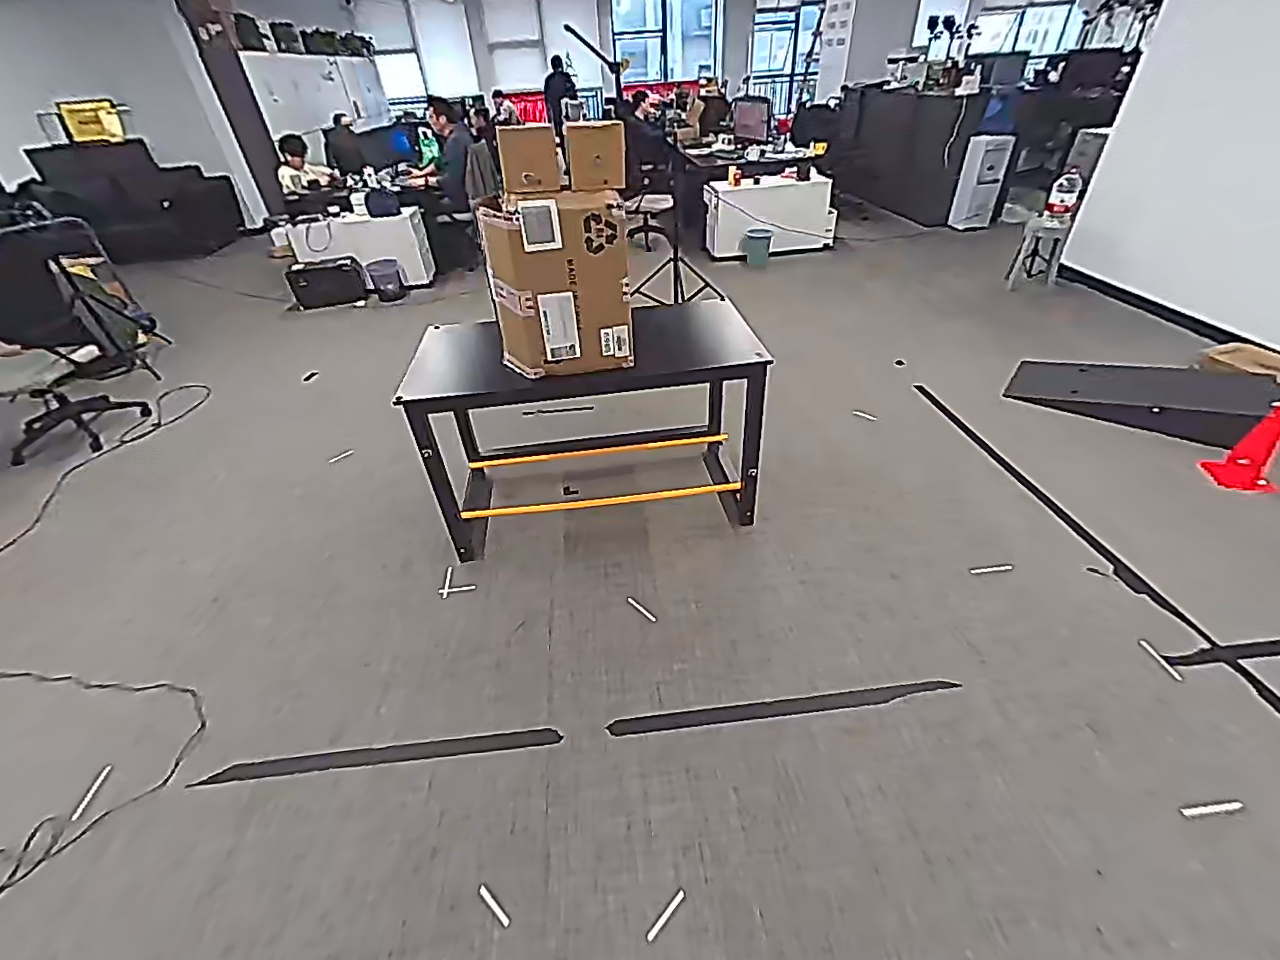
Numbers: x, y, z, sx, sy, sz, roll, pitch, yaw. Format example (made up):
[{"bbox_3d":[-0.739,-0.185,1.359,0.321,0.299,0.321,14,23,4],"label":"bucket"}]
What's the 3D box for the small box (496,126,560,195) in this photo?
[{"bbox_3d":[-0.343,-0.975,1.648,0.168,0.176,0.179,-11,36,-9],"label":"small box"}]
